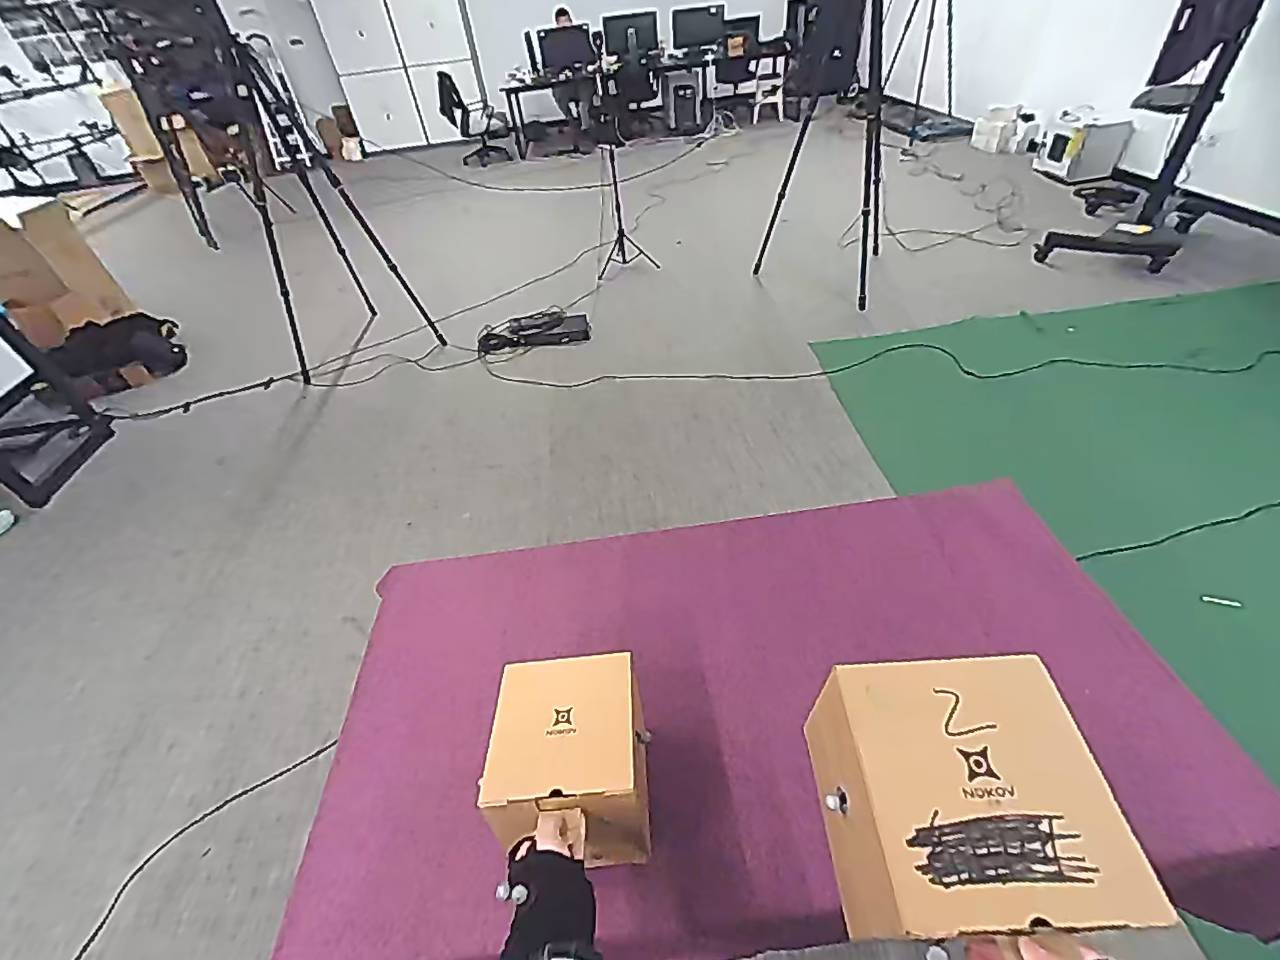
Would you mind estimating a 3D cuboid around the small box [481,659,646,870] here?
[{"bbox_3d":[-0.084,0.356,0.684,0.168,0.176,0.179,-7,35,2],"label":"small box"}]
